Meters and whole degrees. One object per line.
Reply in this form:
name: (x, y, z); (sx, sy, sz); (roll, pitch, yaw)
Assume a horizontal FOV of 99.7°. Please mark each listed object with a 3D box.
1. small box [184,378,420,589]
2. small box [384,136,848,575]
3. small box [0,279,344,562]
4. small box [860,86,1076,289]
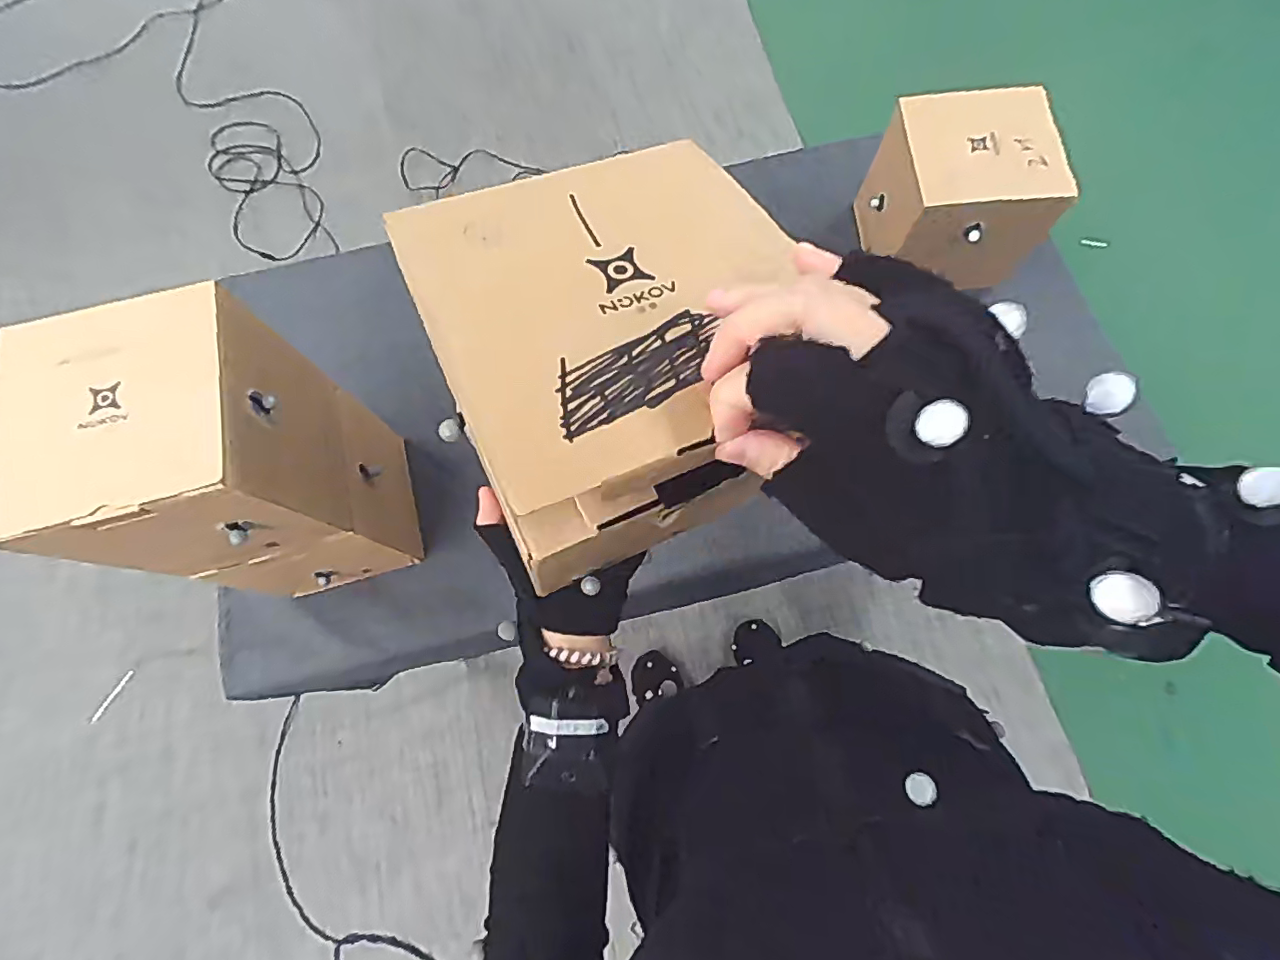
small box: (-0.376, 0.014, 0.622); (0.168, 0.176, 0.179); (-16, 73, -3)
small box: (-0.020, -0.053, 0.324); (0.168, 0.176, 0.179); (-23, 78, -15)
small box: (-0.381, -0.034, 0.466); (0.168, 0.176, 0.179); (-14, 73, -4)
small box: (0.403, -0.368, 0.705); (0.179, 0.176, 0.168); (-2, 74, 1)
